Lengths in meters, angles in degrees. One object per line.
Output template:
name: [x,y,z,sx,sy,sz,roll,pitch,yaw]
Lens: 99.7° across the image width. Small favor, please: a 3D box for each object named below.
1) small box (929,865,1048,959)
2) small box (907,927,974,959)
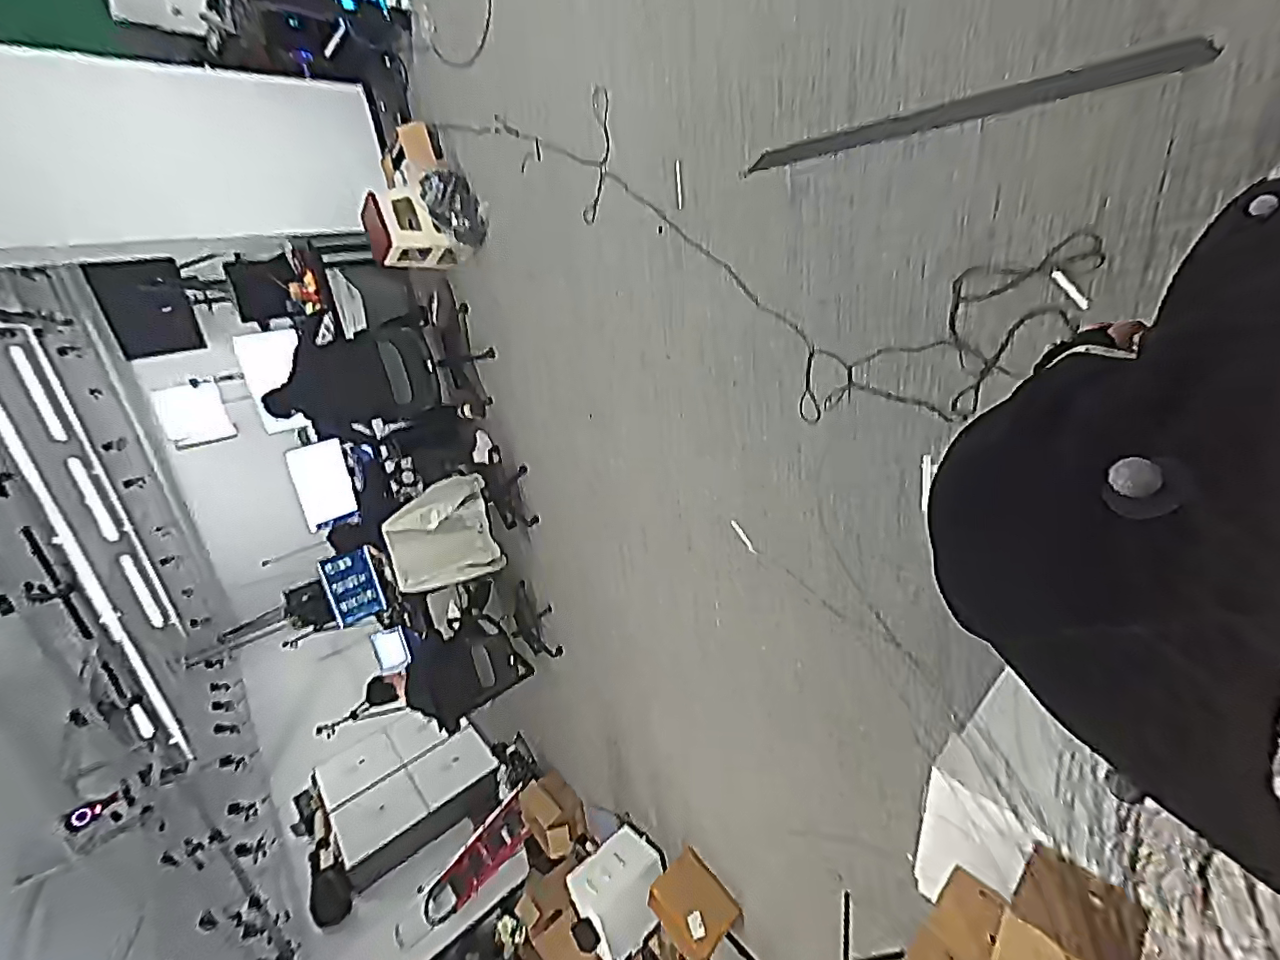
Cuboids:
small box: [0.689,0.936,1.086,0.168,0.176,0.179,21,124,45]
small box: [0.566,0.994,0.992,0.168,0.176,0.179,20,124,45]
